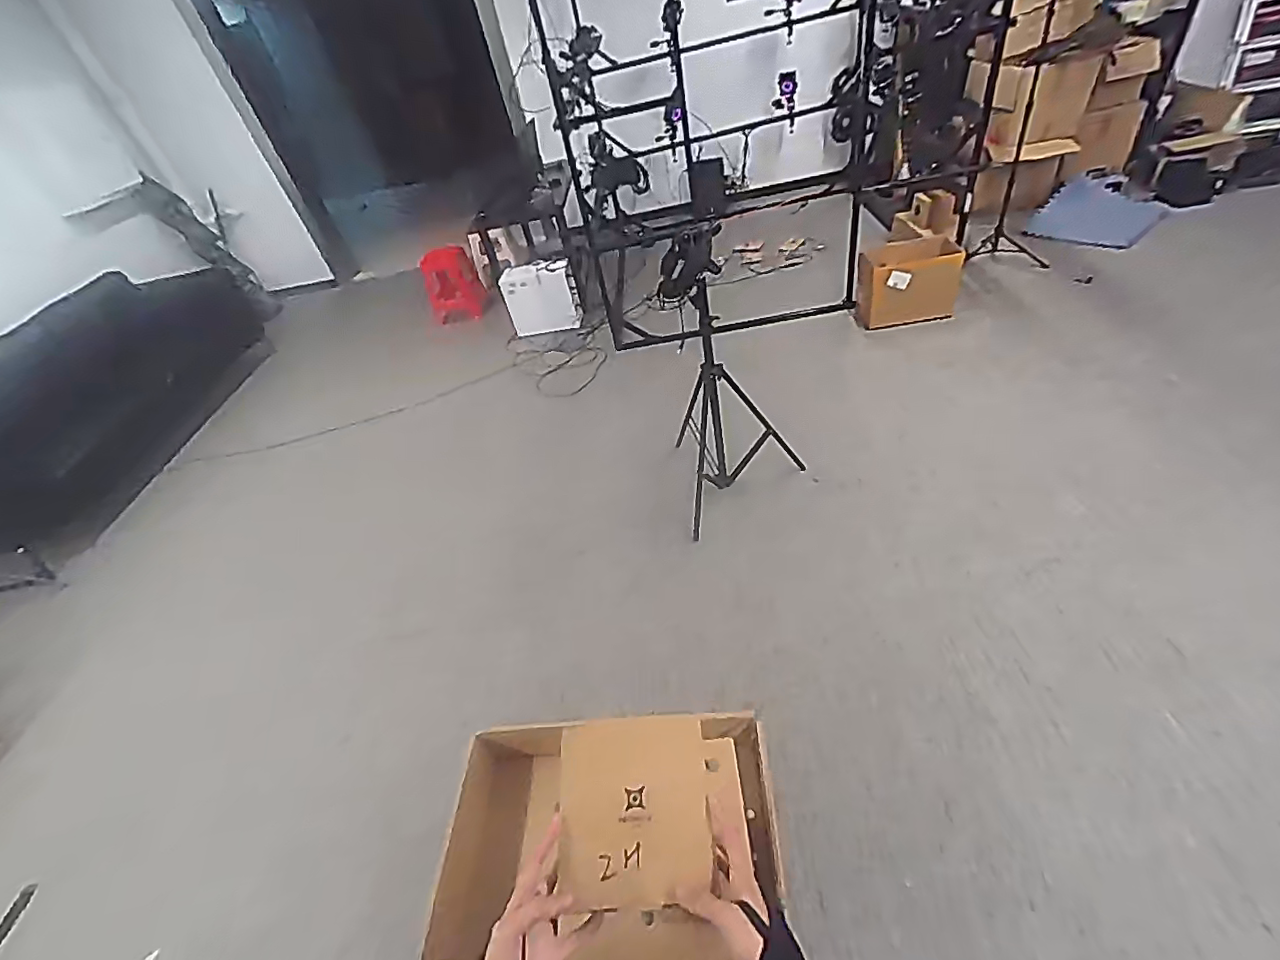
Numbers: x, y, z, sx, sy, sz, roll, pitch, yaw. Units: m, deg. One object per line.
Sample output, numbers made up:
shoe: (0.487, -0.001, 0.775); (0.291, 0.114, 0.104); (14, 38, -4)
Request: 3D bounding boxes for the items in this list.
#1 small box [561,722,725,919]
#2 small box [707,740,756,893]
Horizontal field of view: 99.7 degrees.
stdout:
small box: (0.004, 0.407, 0.647); (0.168, 0.176, 0.179); (-6, 54, 2)
small box: (0.089, 0.542, 0.863); (0.168, 0.176, 0.179); (-8, 42, 6)
